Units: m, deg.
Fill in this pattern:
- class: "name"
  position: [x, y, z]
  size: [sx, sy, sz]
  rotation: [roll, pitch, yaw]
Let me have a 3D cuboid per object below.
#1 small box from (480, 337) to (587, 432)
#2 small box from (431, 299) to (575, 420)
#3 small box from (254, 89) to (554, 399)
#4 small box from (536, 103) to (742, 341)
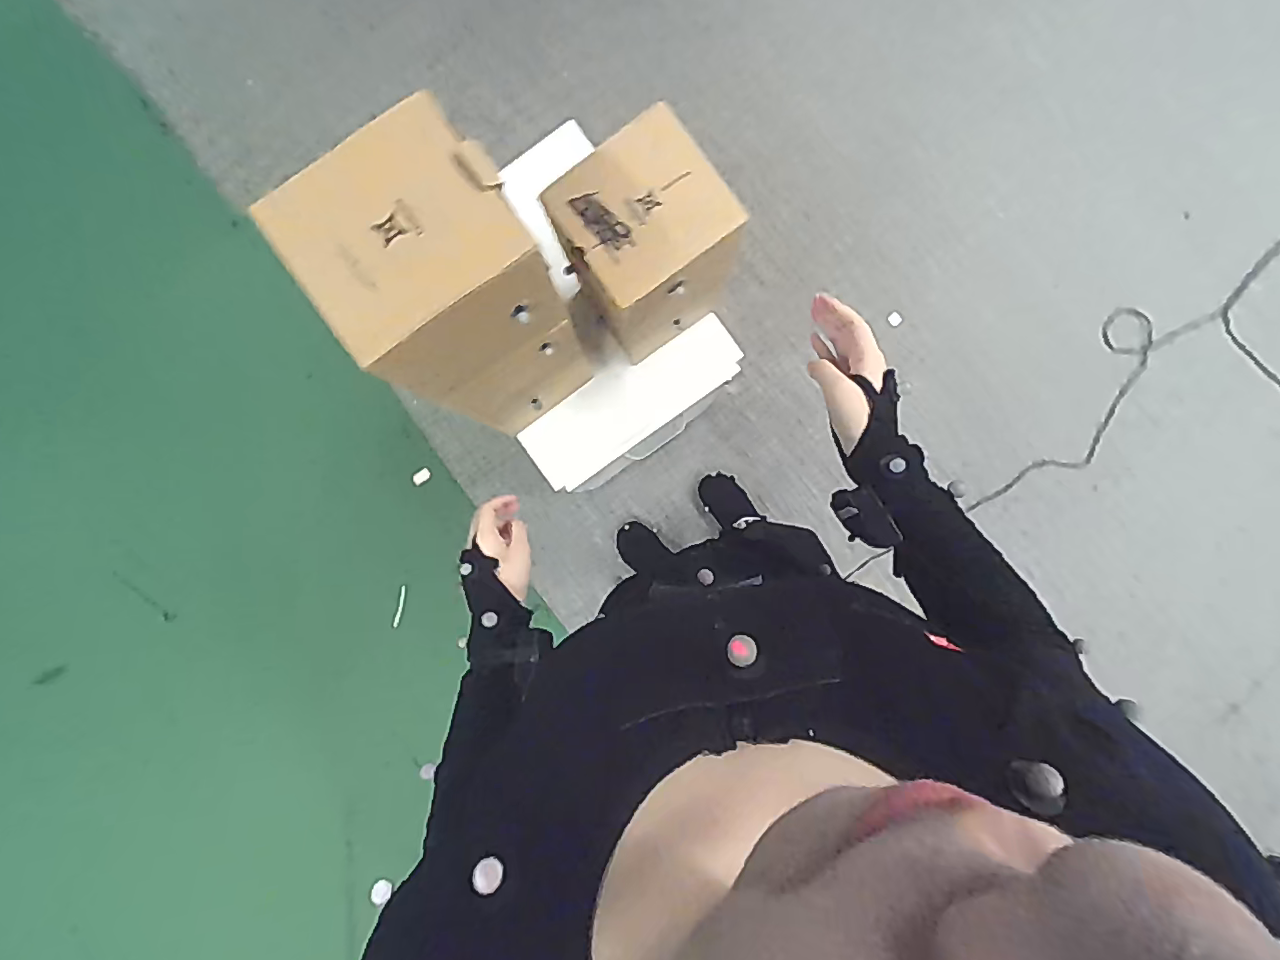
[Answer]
- class: "small box"
  position: [-0.200, -0.192, 0.842]
  size: [0.179, 0.176, 0.168]
  rotation: [-37, 88, -2]
- class: "small box"
  position: [-0.200, -0.195, 0.678]
  size: [0.179, 0.176, 0.168]
  rotation: [-35, 88, -3]
- class: "small box"
  position: [-0.198, -0.203, 0.516]
  size: [0.179, 0.176, 0.168]
  rotation: [-37, 87, -2]
- class: "small box"
  position: [0.002, -0.302, 0.676]
  size: [0.179, 0.176, 0.168]
  rotation: [-36, 88, 1]
